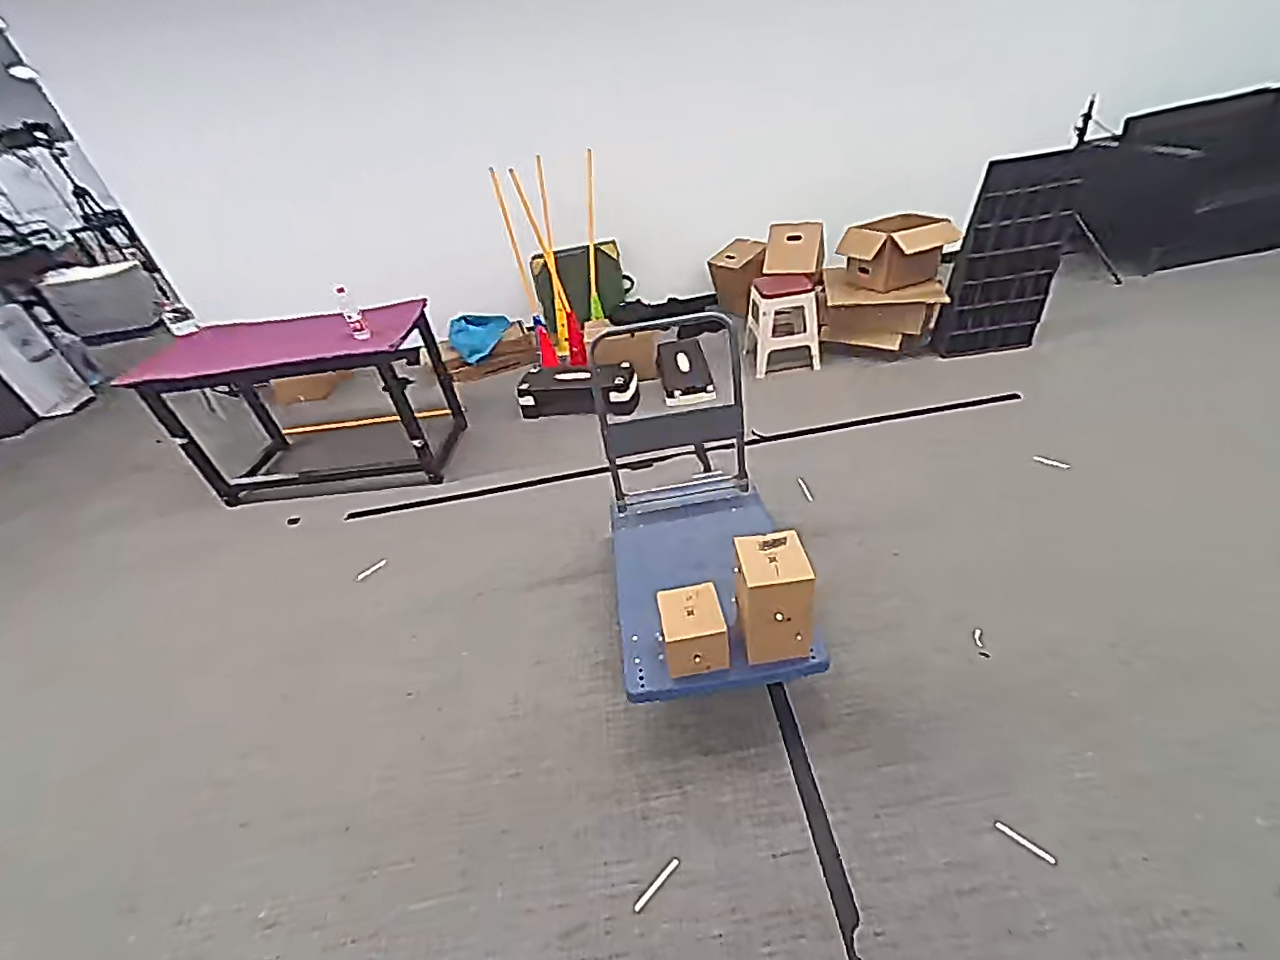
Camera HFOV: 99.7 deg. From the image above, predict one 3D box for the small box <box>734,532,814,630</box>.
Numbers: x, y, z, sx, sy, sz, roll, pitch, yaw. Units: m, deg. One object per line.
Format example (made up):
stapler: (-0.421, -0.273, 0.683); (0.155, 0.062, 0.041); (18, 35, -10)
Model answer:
small box: (0.342, 0.263, 1.413); (0.168, 0.176, 0.179); (-8, 37, 2)

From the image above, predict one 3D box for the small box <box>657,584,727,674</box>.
small box: (0.146, 0.424, 1.518); (0.168, 0.176, 0.179); (-10, 36, -1)
